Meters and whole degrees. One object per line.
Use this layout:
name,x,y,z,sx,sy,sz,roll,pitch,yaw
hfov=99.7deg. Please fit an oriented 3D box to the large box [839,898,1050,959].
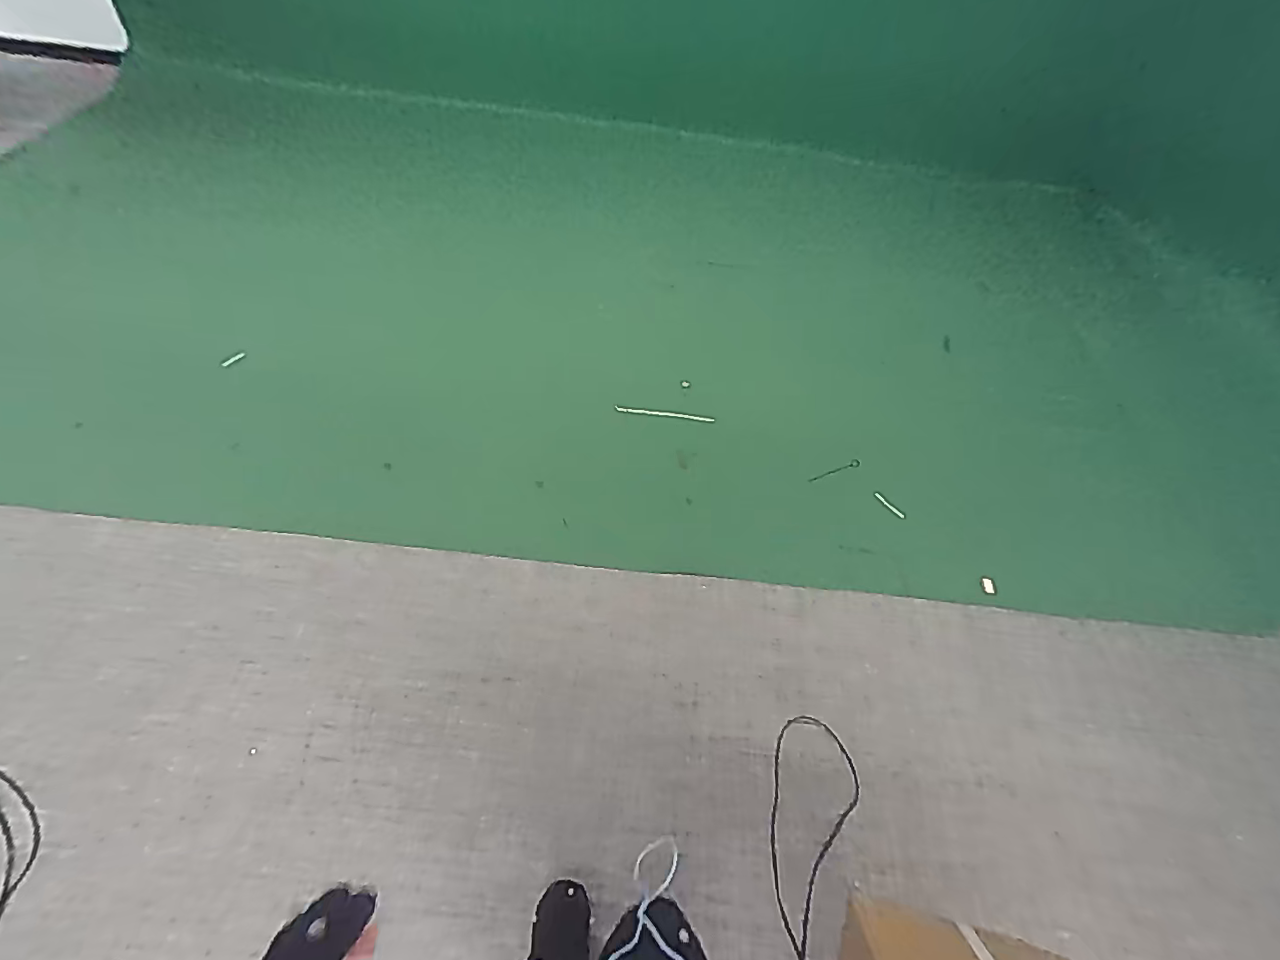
large box,0.404,0.778,0.579,0.320,0.408,0.320,14,84,9
